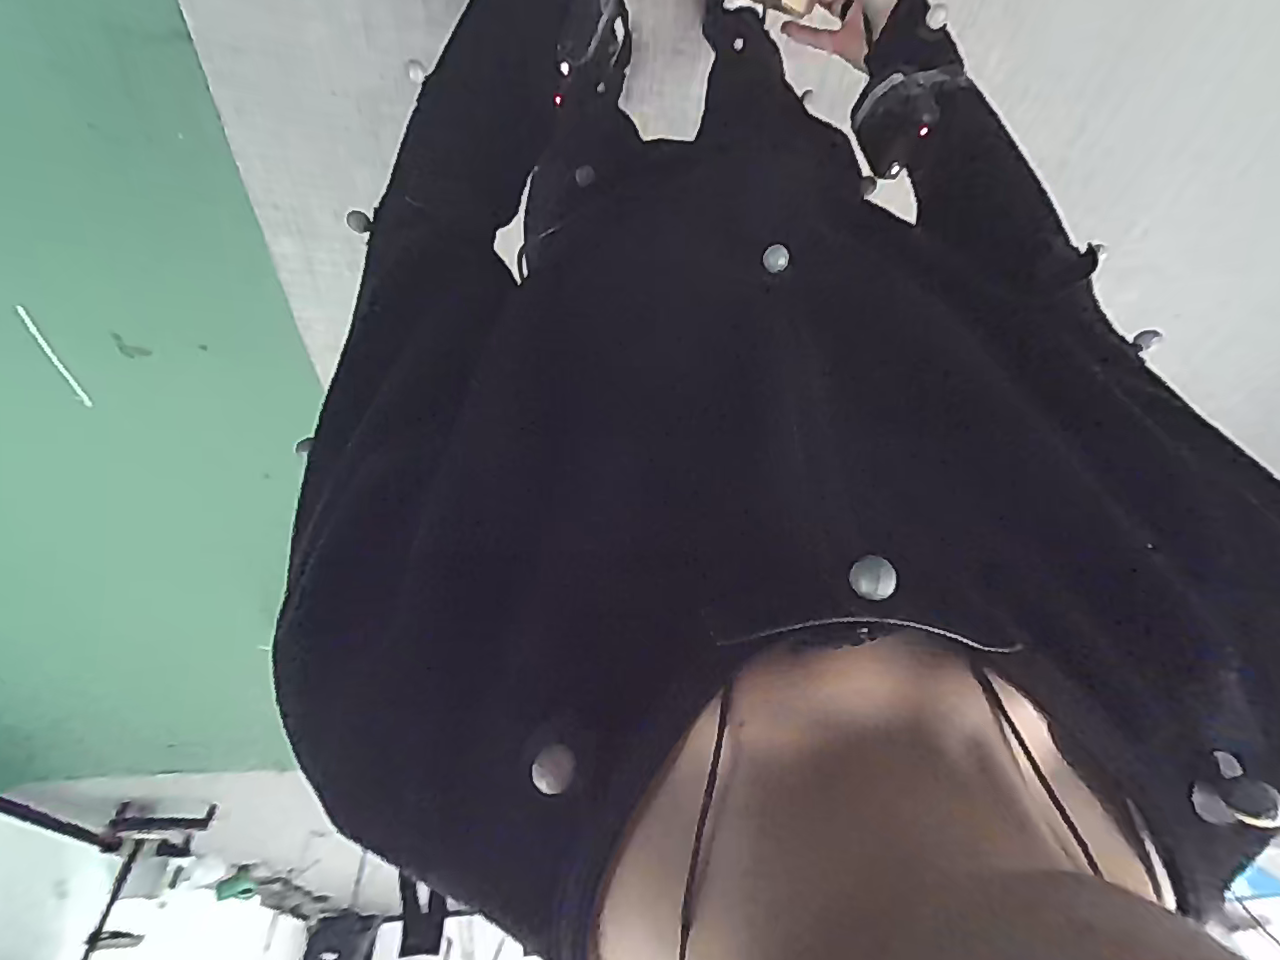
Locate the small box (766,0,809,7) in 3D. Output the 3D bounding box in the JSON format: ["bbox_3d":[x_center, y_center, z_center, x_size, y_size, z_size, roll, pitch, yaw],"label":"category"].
[{"bbox_3d":[0.086,-0.537,0.438,0.168,0.176,0.179,9,129,-29],"label":"small box"}]

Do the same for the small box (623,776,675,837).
[{"bbox_3d":[0.029,1.244,2.063,0.179,0.176,0.168,0,134,-5],"label":"small box"}]

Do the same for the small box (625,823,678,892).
[{"bbox_3d":[0.036,1.355,1.945,0.179,0.176,0.168,-2,134,-5],"label":"small box"}]
